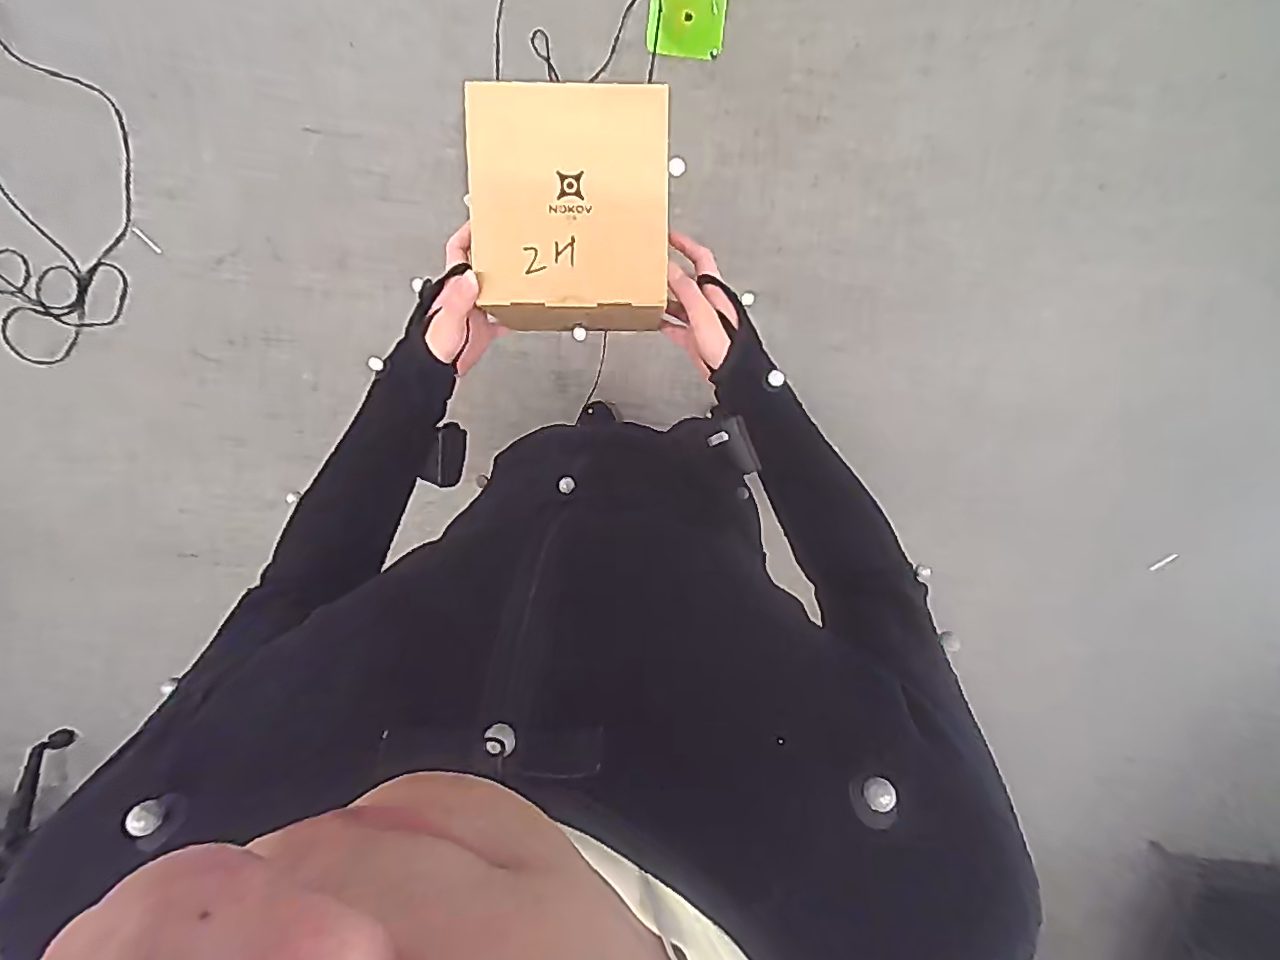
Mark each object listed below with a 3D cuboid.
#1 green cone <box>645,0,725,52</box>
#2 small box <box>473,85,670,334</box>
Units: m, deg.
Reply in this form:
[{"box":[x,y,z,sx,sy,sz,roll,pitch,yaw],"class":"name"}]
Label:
[{"box":[0.120,-1.214,1.248,0.202,0.368,0.200,6,99,-1],"class":"green cone"},{"box":[-0.062,-0.247,0.536,0.168,0.176,0.179,1,98,-2],"class":"small box"}]
